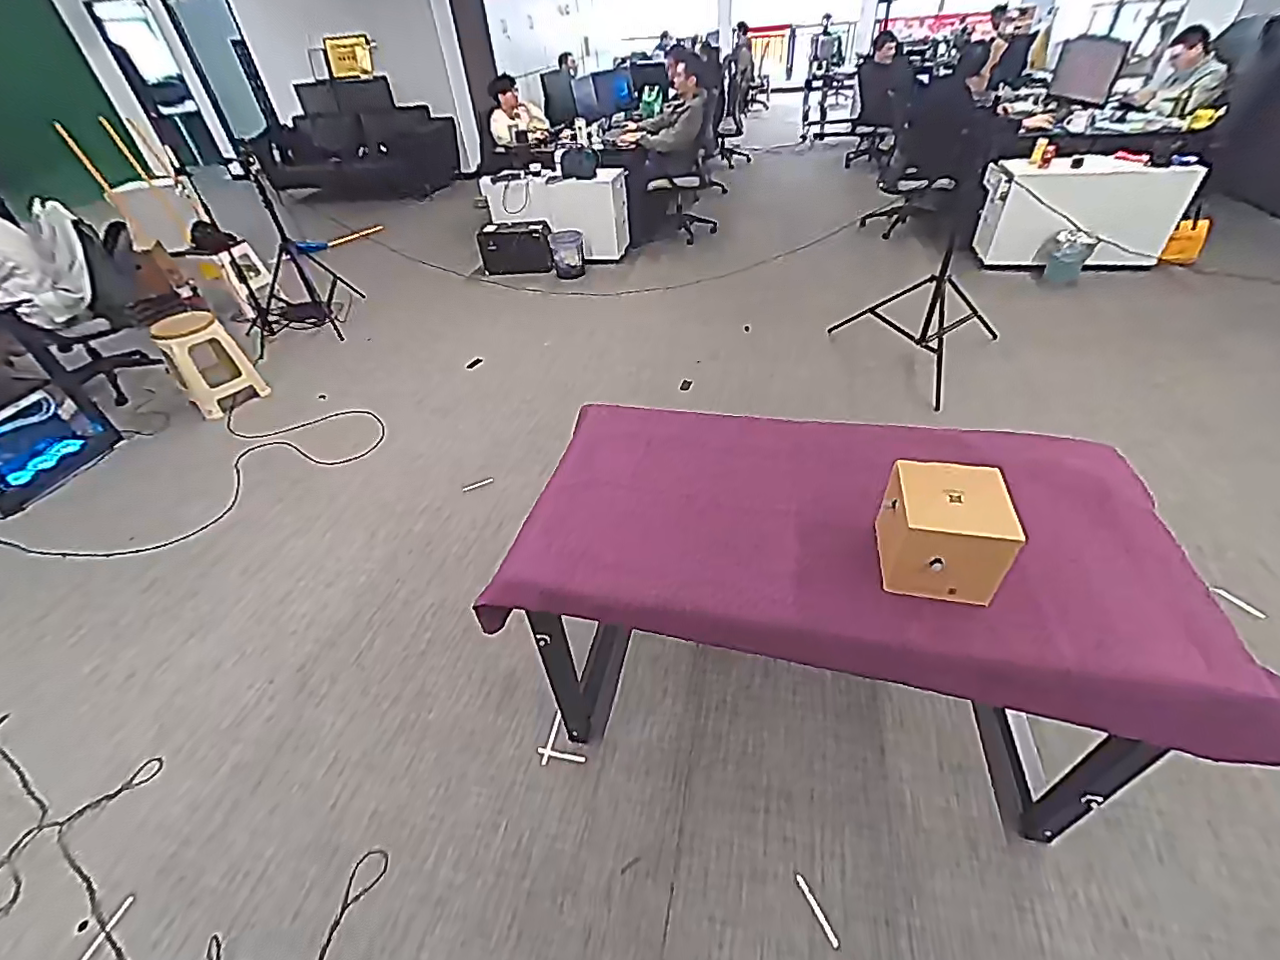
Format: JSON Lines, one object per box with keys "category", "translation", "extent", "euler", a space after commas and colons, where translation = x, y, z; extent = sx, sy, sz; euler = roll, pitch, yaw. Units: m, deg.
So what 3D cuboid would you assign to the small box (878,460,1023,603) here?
{"category": "small box", "translation": [0.522, 0.089, 0.938], "extent": [0.168, 0.176, 0.179], "euler": [6, 41, 13]}
